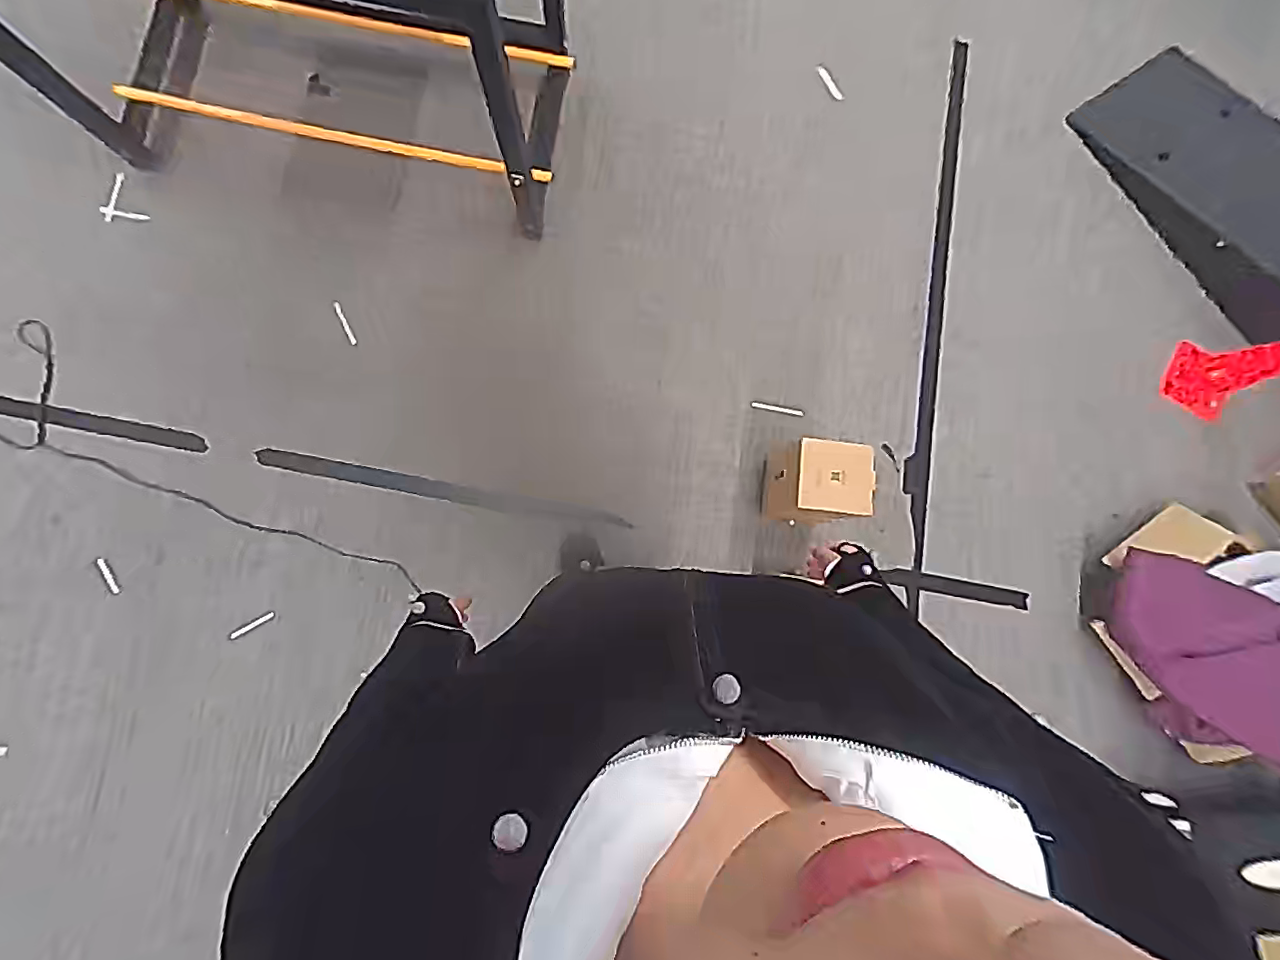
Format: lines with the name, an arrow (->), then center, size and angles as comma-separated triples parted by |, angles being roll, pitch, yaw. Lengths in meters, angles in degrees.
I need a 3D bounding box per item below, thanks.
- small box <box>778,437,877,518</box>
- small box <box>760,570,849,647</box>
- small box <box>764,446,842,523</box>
small box -> 0.450, 0.001, 1.311 | 0.179, 0.176, 0.168 | 6, 81, -1
small box -> 0.428, 0.335, 1.435 | 0.179, 0.176, 0.168 | 10, 83, -1
small box -> 0.446, 0.017, 1.472 | 0.168, 0.176, 0.179 | 8, 83, -1
